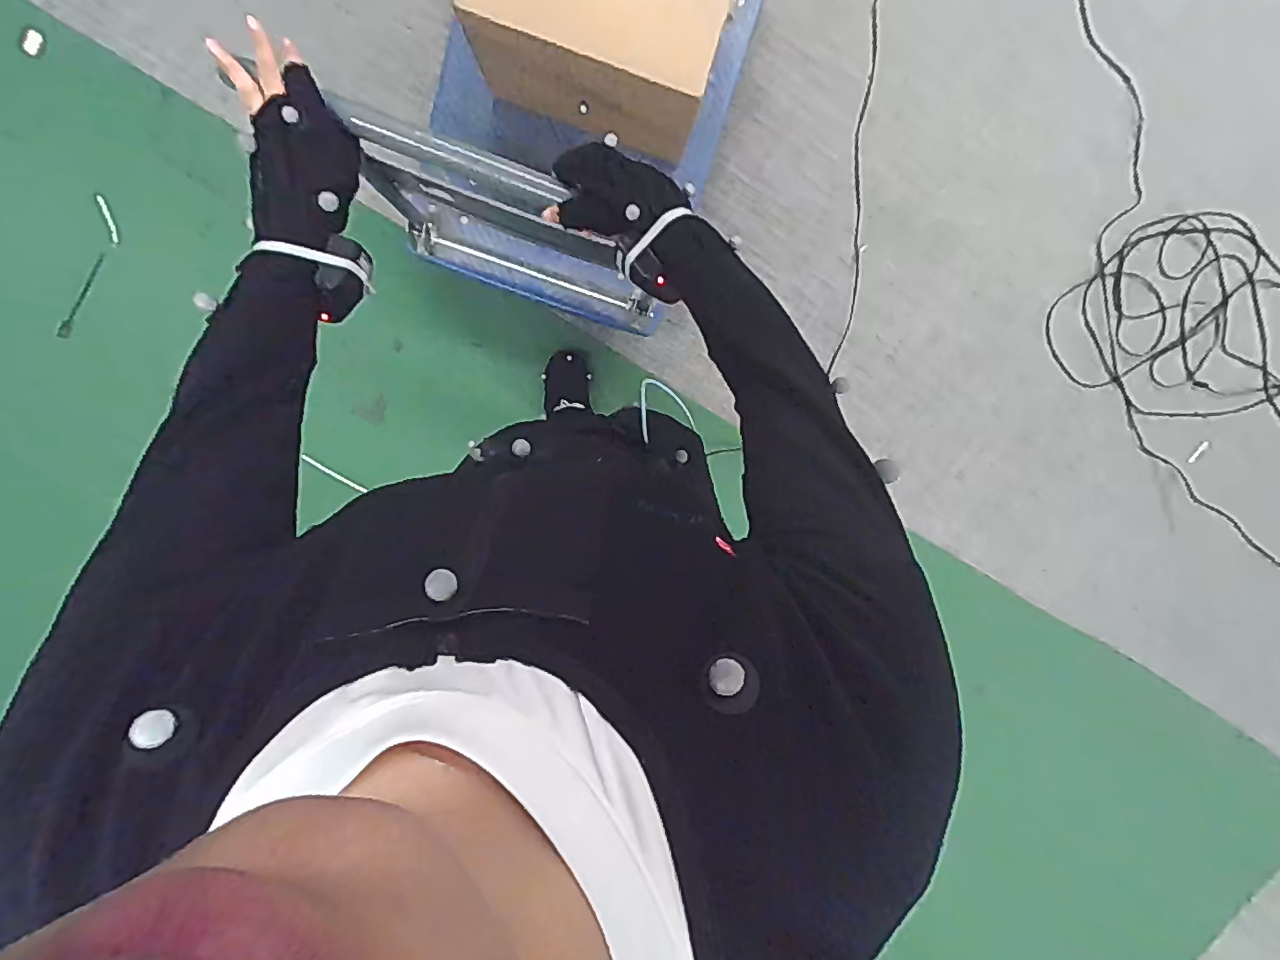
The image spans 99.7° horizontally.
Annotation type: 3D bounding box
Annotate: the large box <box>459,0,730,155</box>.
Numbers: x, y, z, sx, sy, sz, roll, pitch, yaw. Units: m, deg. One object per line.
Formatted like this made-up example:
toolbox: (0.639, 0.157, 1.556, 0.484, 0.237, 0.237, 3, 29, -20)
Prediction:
large box: (-0.051, -0.845, 0.958, 0.408, 0.320, 0.320, 16, 101, -7)
